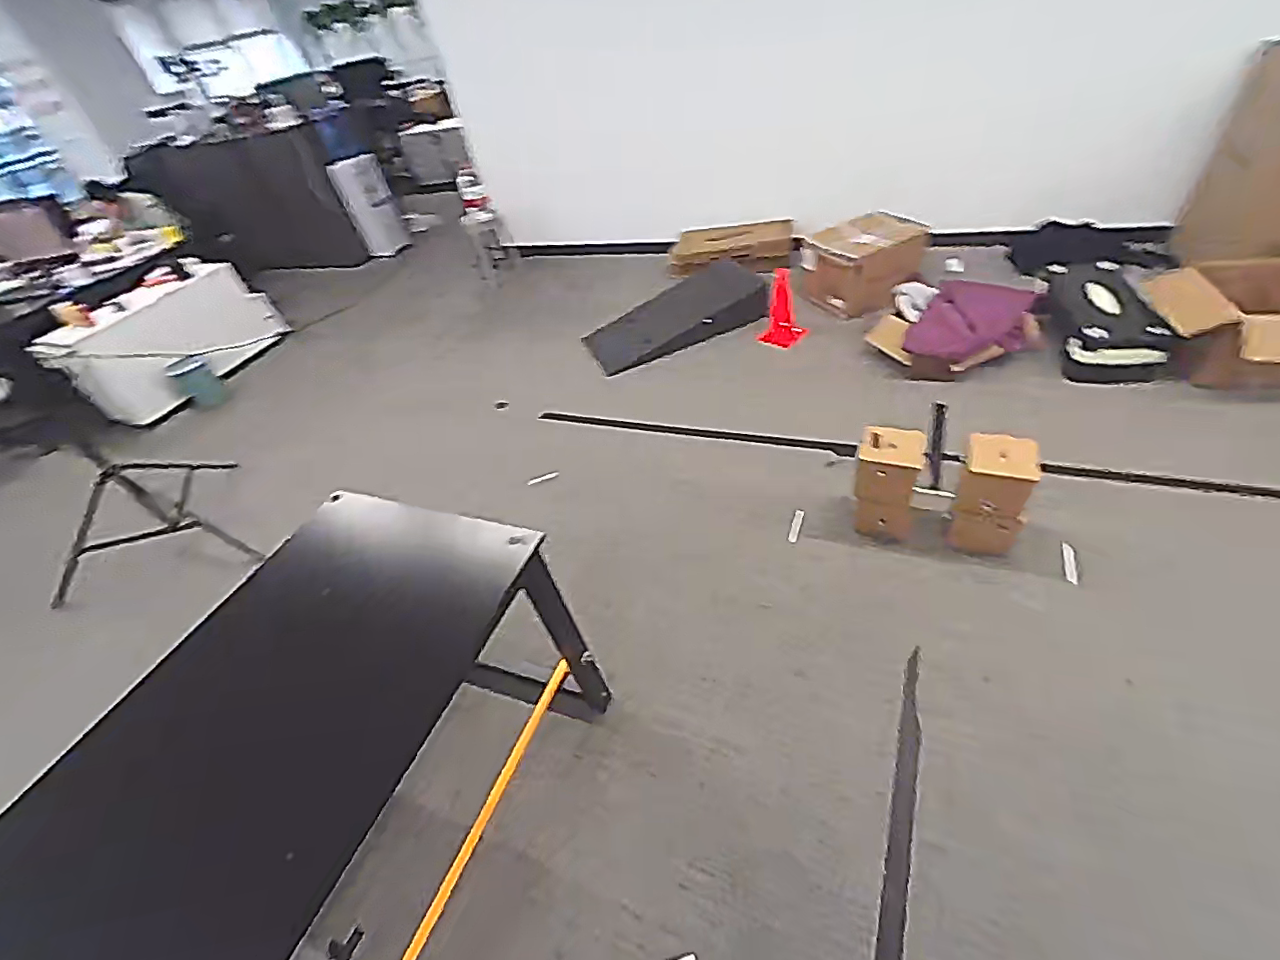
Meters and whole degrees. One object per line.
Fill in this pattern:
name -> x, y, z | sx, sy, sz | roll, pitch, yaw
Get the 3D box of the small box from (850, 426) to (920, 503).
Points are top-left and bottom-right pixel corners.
small box -> 0.772, -0.047, 1.714 | 0.179, 0.176, 0.168 | 11, 48, 26

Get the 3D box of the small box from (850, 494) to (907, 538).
small box -> 0.811, 0.071, 1.826 | 0.168, 0.176, 0.179 | 11, 49, 24

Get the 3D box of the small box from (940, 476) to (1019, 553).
small box -> 1.074, 0.110, 1.718 | 0.179, 0.176, 0.168 | 9, 47, 22

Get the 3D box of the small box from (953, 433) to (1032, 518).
small box -> 1.047, -0.014, 1.616 | 0.168, 0.176, 0.179 | 9, 49, 24
